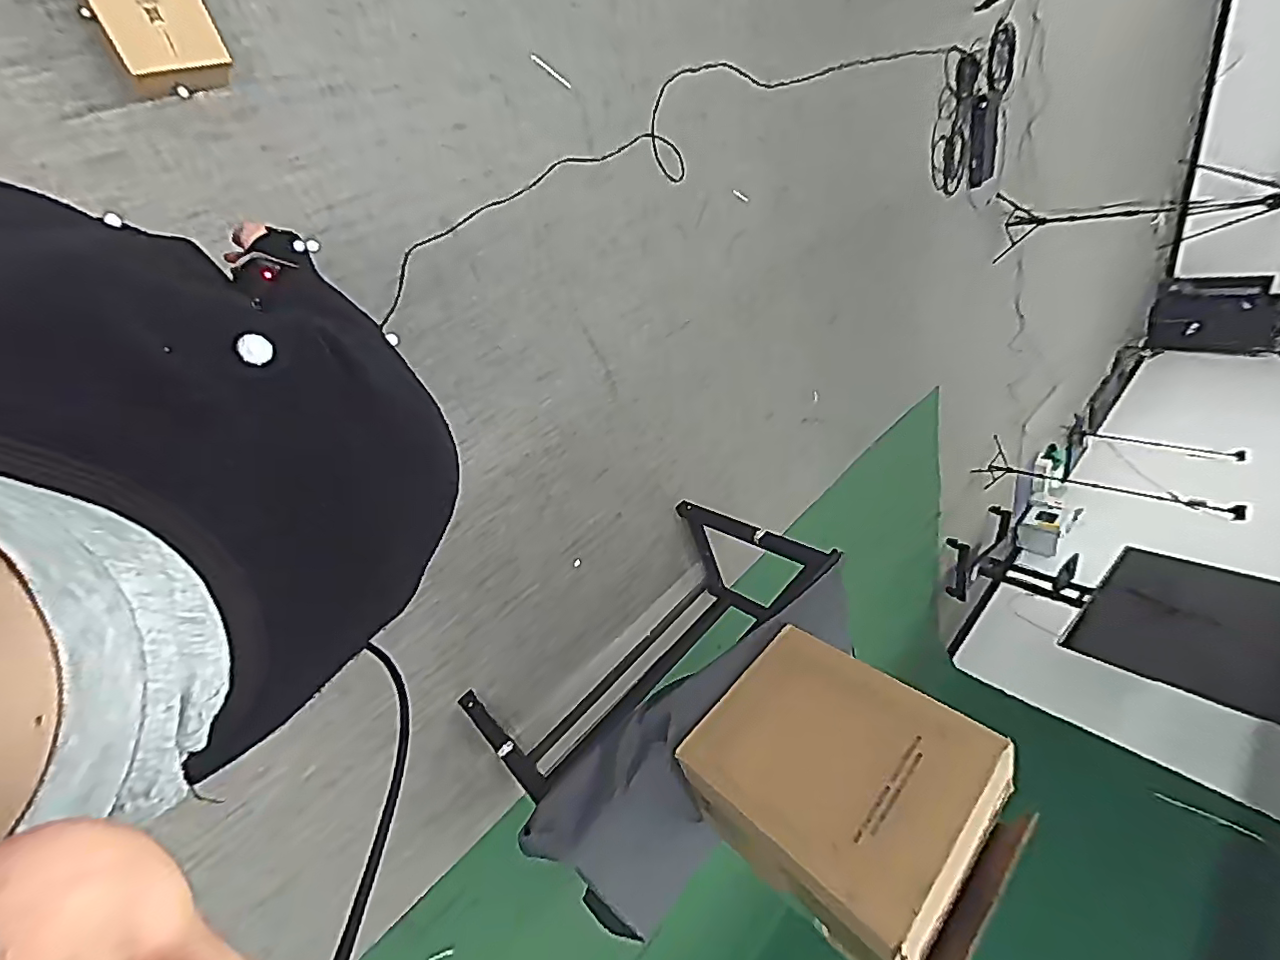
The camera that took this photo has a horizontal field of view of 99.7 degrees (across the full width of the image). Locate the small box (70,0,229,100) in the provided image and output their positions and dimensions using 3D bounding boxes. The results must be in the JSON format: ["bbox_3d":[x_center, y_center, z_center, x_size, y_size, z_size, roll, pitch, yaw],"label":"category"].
[{"bbox_3d":[-0.902,-0.831,0.991,0.168,0.176,0.179,-35,125,-27],"label":"small box"}]
